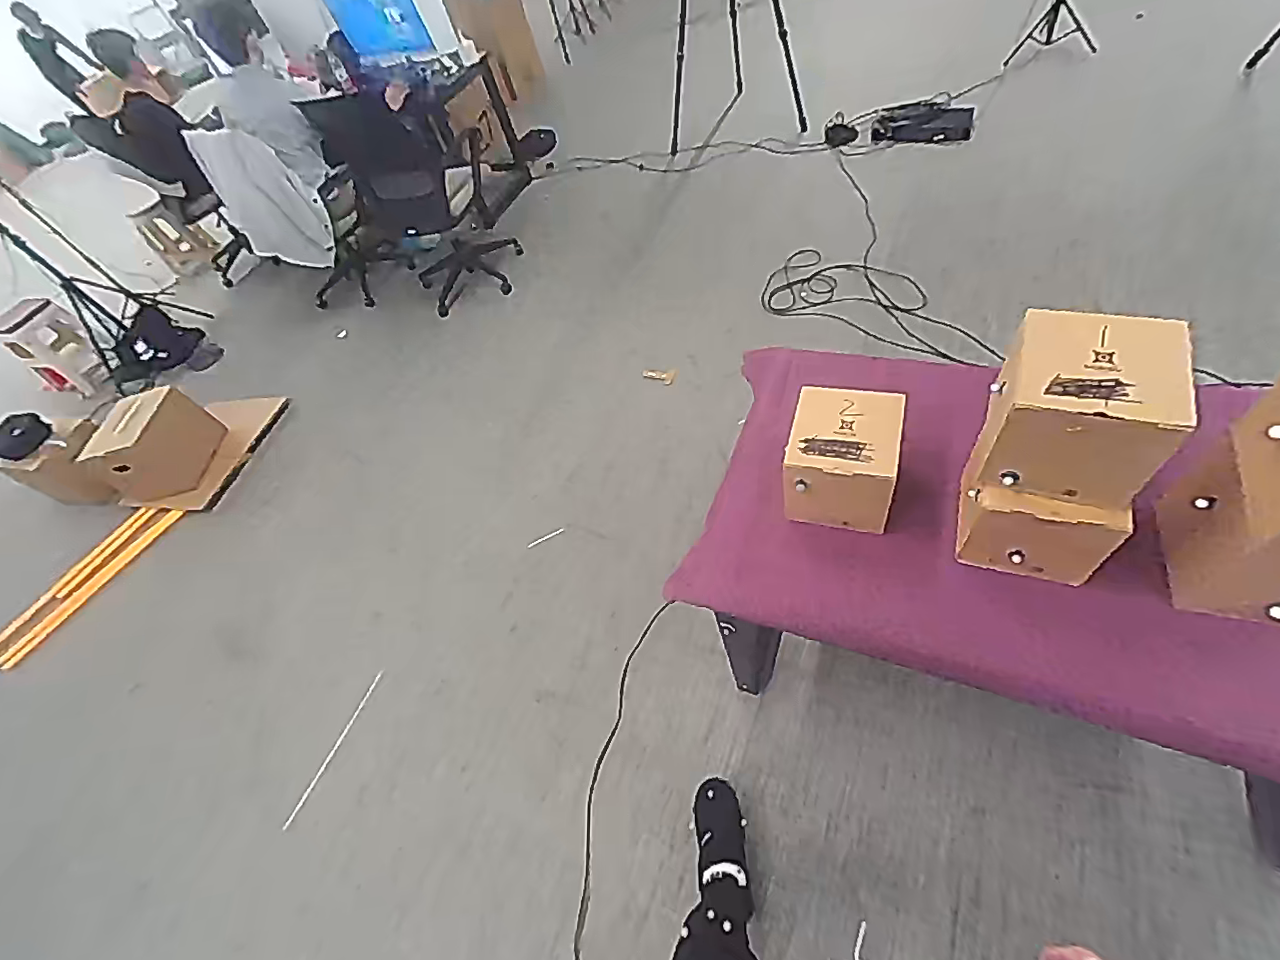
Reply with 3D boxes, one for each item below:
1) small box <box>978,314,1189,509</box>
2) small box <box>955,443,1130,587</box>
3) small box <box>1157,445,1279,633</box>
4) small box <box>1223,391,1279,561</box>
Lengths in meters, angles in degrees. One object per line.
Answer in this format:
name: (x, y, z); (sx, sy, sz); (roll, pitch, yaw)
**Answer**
small box: (0.558, -0.087, 0.700); (0.168, 0.176, 0.179); (14, 59, 24)
small box: (0.588, 0.034, 0.812); (0.168, 0.176, 0.179); (10, 59, 22)
small box: (0.827, 0.080, 0.707); (0.168, 0.176, 0.179); (9, 57, 22)
small box: (0.792, -0.016, 0.579); (0.168, 0.176, 0.179); (8, 56, 22)
